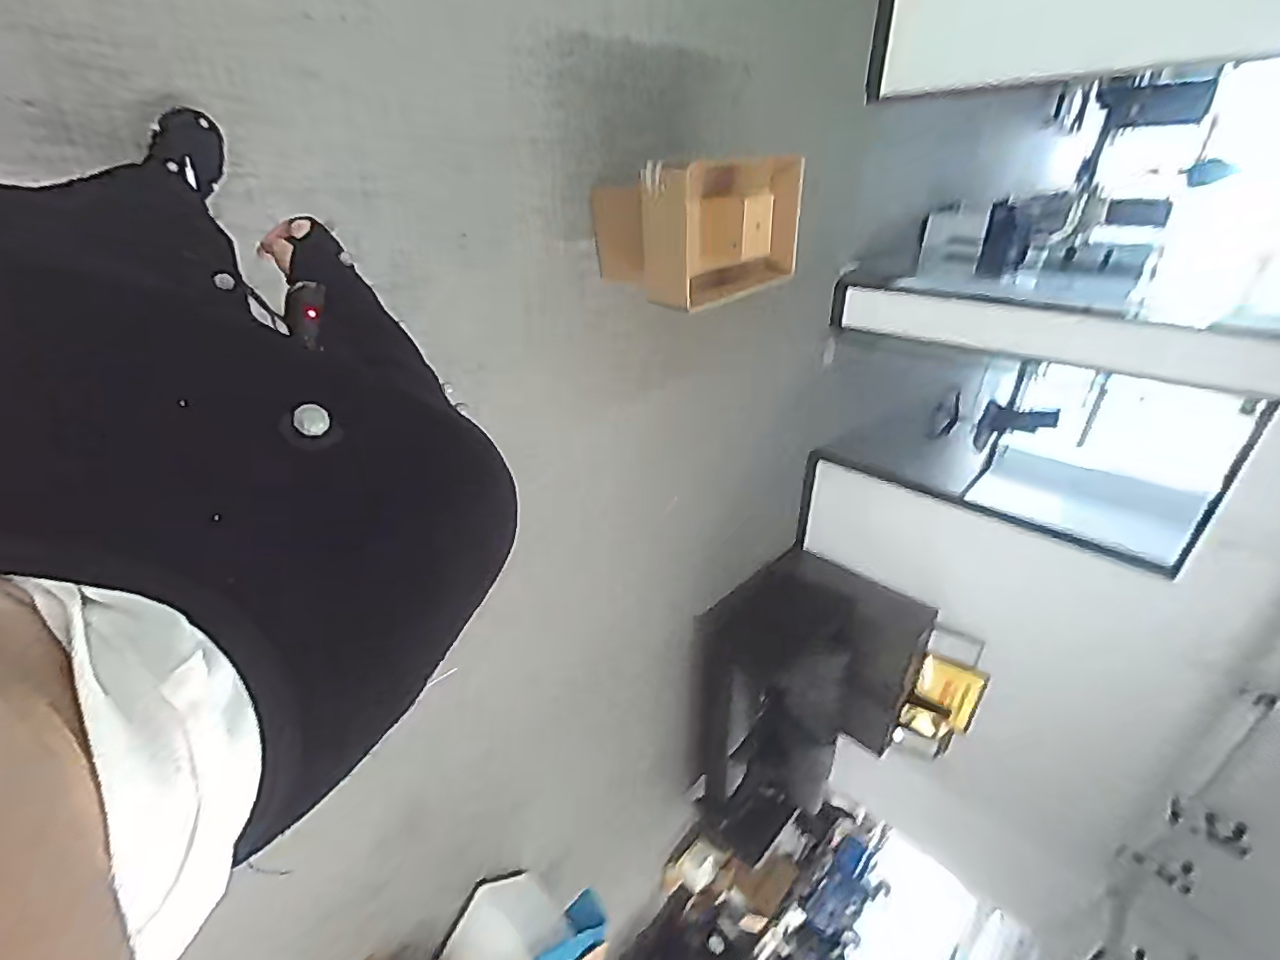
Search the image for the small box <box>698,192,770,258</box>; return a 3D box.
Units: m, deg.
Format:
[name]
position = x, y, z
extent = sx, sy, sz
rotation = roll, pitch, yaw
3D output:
[small box]
position = 0.301, -0.826, 1.744
extent = 0.168, 0.176, 0.179
rotation = -31, 131, -37
